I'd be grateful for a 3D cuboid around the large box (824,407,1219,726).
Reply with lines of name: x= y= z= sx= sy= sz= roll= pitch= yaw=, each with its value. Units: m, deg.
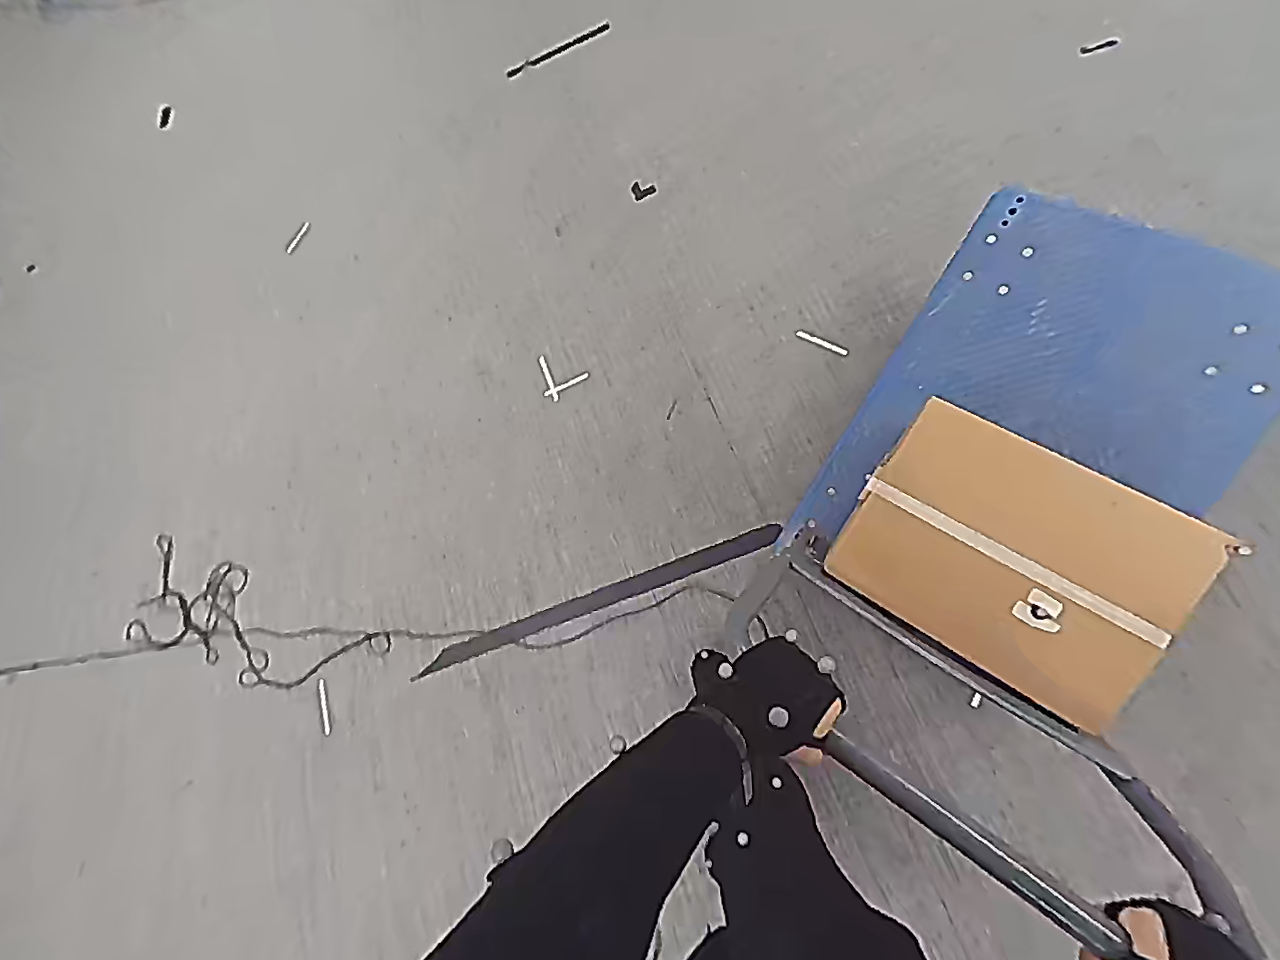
large box: x=0.571 y=0.121 z=0.923 sx=0.408 sy=0.320 sz=0.320 roll=32 pitch=98 yaw=18
